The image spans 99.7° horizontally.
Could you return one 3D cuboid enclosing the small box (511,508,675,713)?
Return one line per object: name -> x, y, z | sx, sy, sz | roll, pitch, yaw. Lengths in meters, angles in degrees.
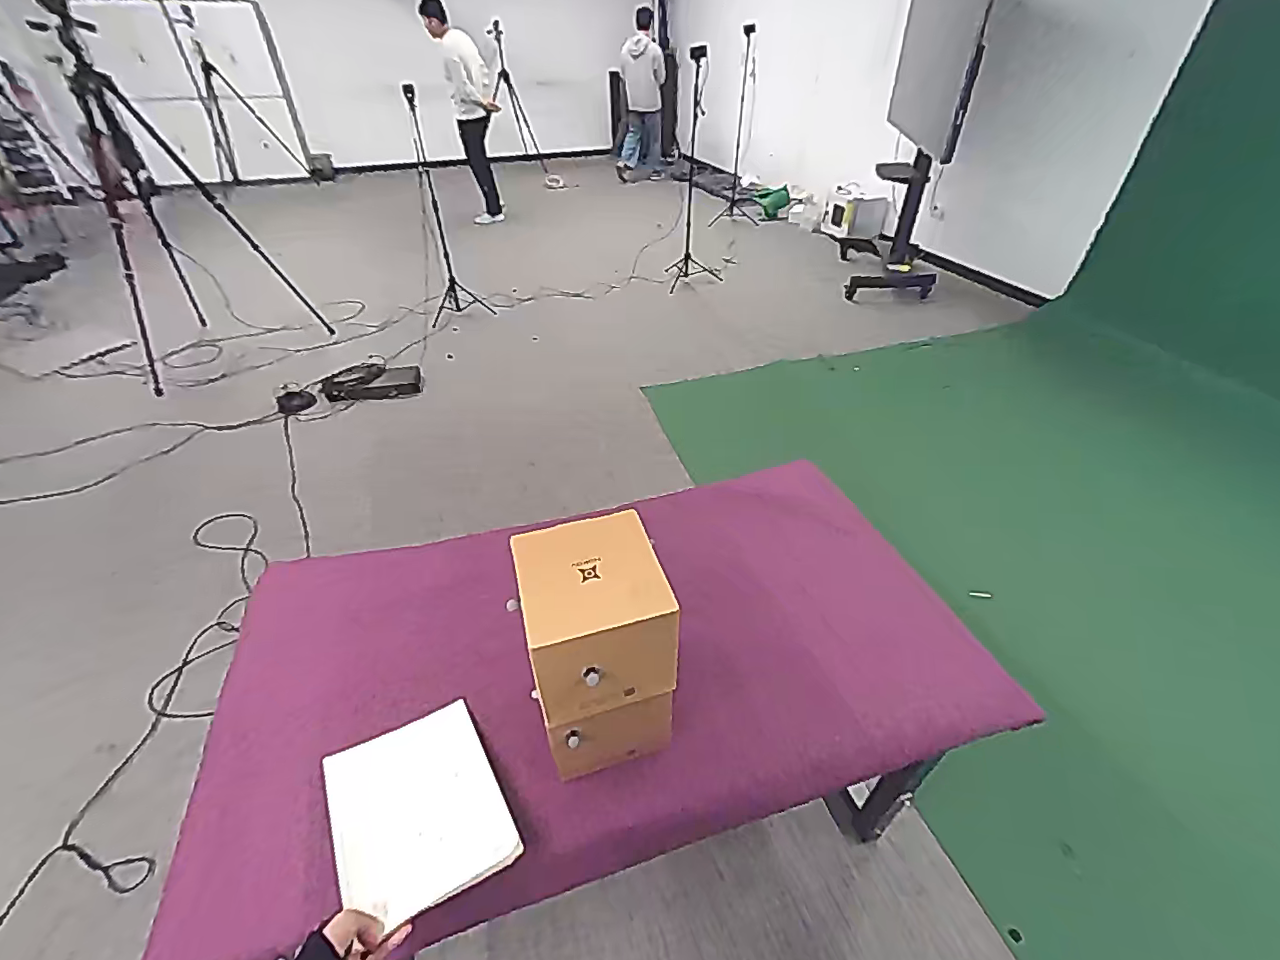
small box -> -0.059, 0.167, 0.681 | 0.168, 0.176, 0.179 | -12, 39, -13
